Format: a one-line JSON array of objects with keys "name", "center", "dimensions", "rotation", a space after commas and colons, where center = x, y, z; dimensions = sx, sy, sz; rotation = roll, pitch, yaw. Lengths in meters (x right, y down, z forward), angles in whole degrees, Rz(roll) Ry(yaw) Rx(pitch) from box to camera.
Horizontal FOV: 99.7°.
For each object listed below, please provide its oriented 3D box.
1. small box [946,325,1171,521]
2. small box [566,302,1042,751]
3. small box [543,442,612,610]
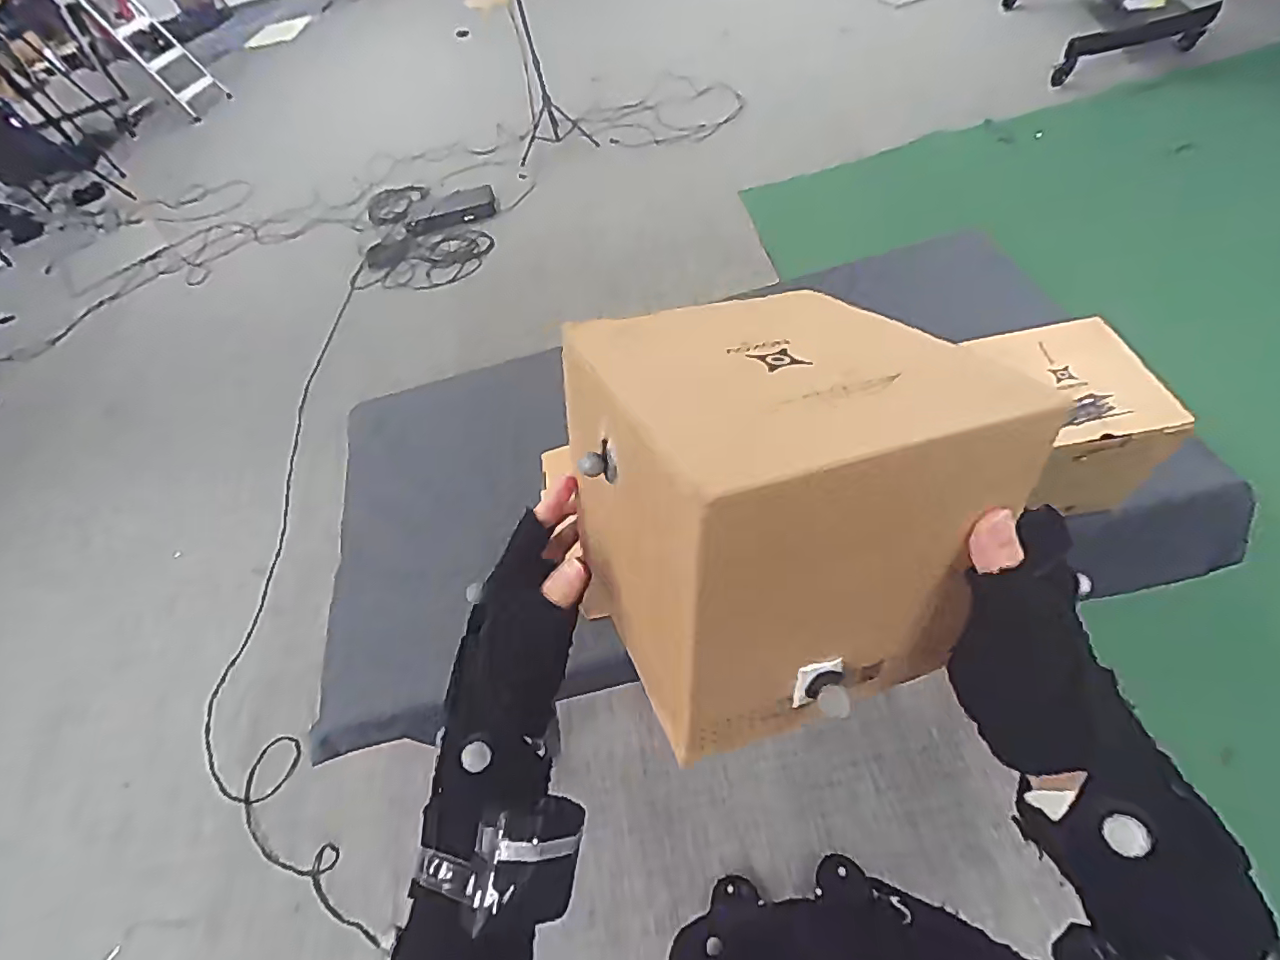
[{"name": "small box", "center": [0.485, -0.062, 0.684], "dimensions": [0.168, 0.176, 0.179], "rotation": [-9, 54, 6]}, {"name": "small box", "center": [0.062, 0.010, 0.311], "dimensions": [0.168, 0.176, 0.179], "rotation": [-14, 36, -19]}, {"name": "small box", "center": [-0.016, 0.053, 0.710], "dimensions": [0.179, 0.176, 0.168], "rotation": [-14, 53, 2]}]
